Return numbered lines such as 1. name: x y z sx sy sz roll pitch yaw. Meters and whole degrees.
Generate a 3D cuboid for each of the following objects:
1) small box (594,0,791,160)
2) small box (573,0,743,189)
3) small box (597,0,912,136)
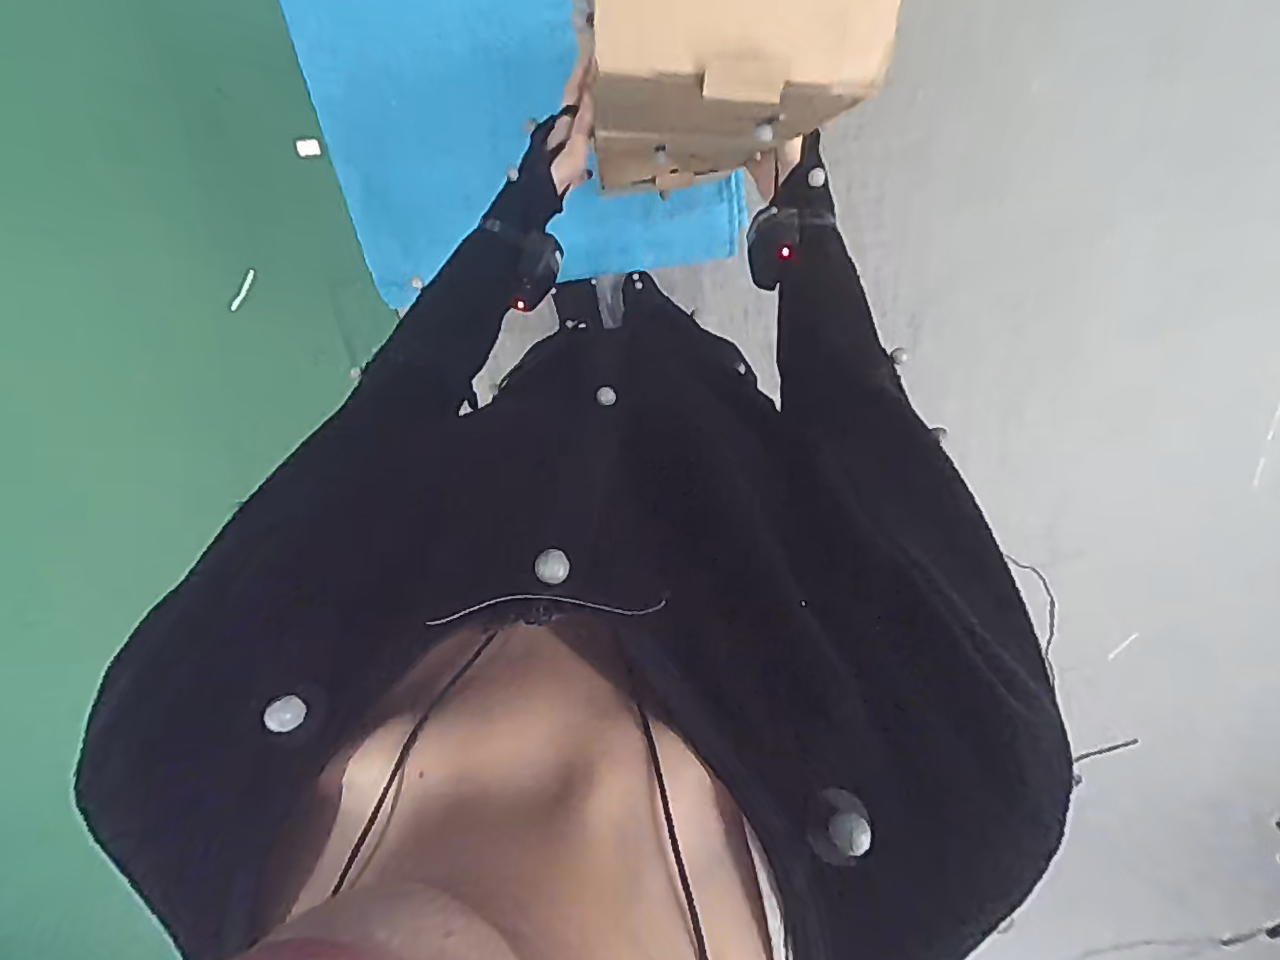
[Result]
1. small box: 0.043 -0.394 0.480 0.168 0.176 0.179 -2 114 -5
2. small box: 0.019 -0.448 0.633 0.168 0.176 0.179 -9 116 -2
3. small box: 0.059 -0.328 0.332 0.168 0.176 0.179 1 113 -6
